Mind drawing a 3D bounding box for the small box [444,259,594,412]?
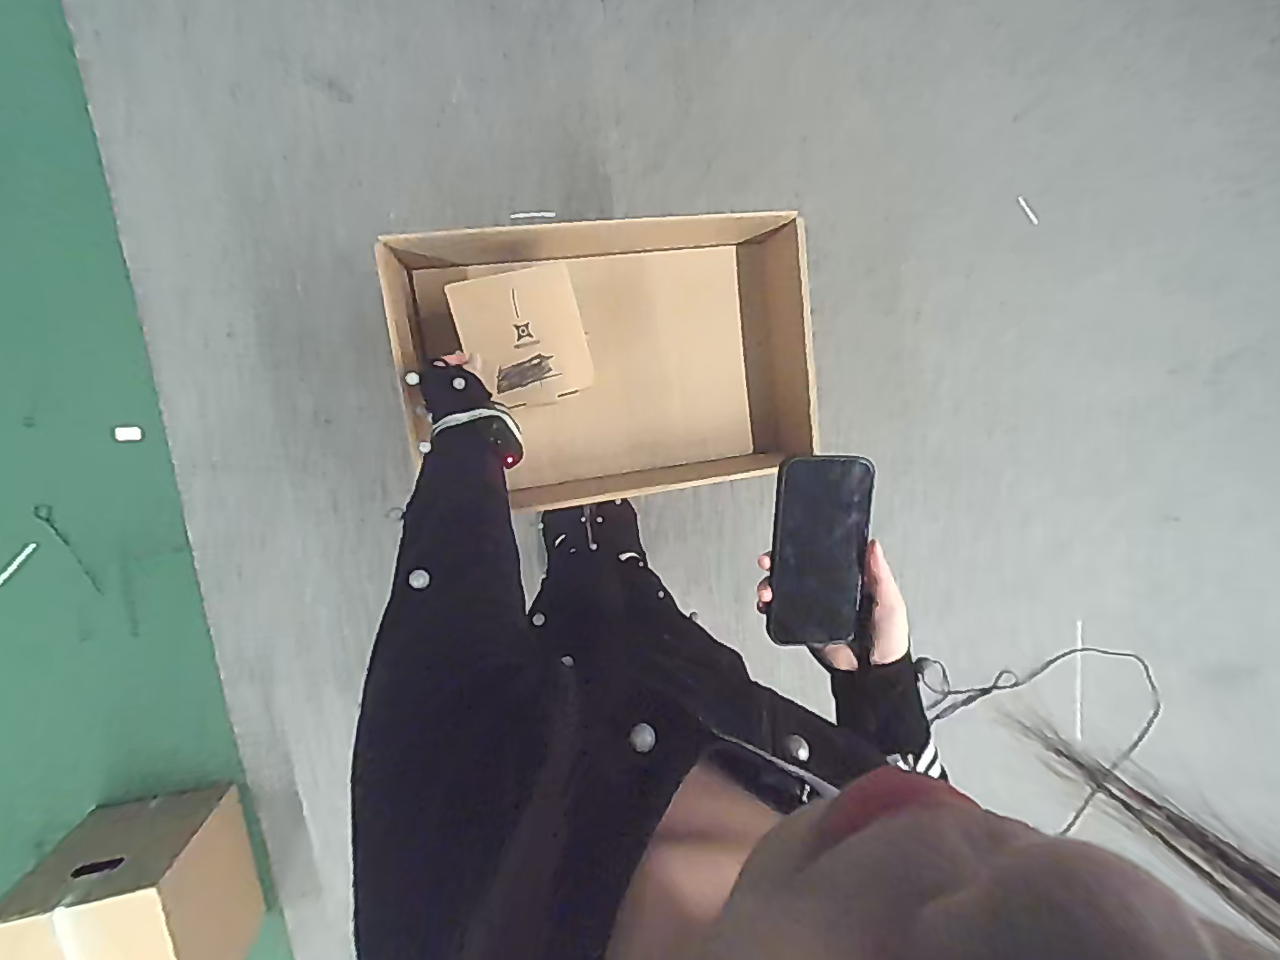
[{"bbox_3d":[-0.176,-0.205,0.804,0.168,0.176,0.179,-16,100,-11],"label":"small box"}]
